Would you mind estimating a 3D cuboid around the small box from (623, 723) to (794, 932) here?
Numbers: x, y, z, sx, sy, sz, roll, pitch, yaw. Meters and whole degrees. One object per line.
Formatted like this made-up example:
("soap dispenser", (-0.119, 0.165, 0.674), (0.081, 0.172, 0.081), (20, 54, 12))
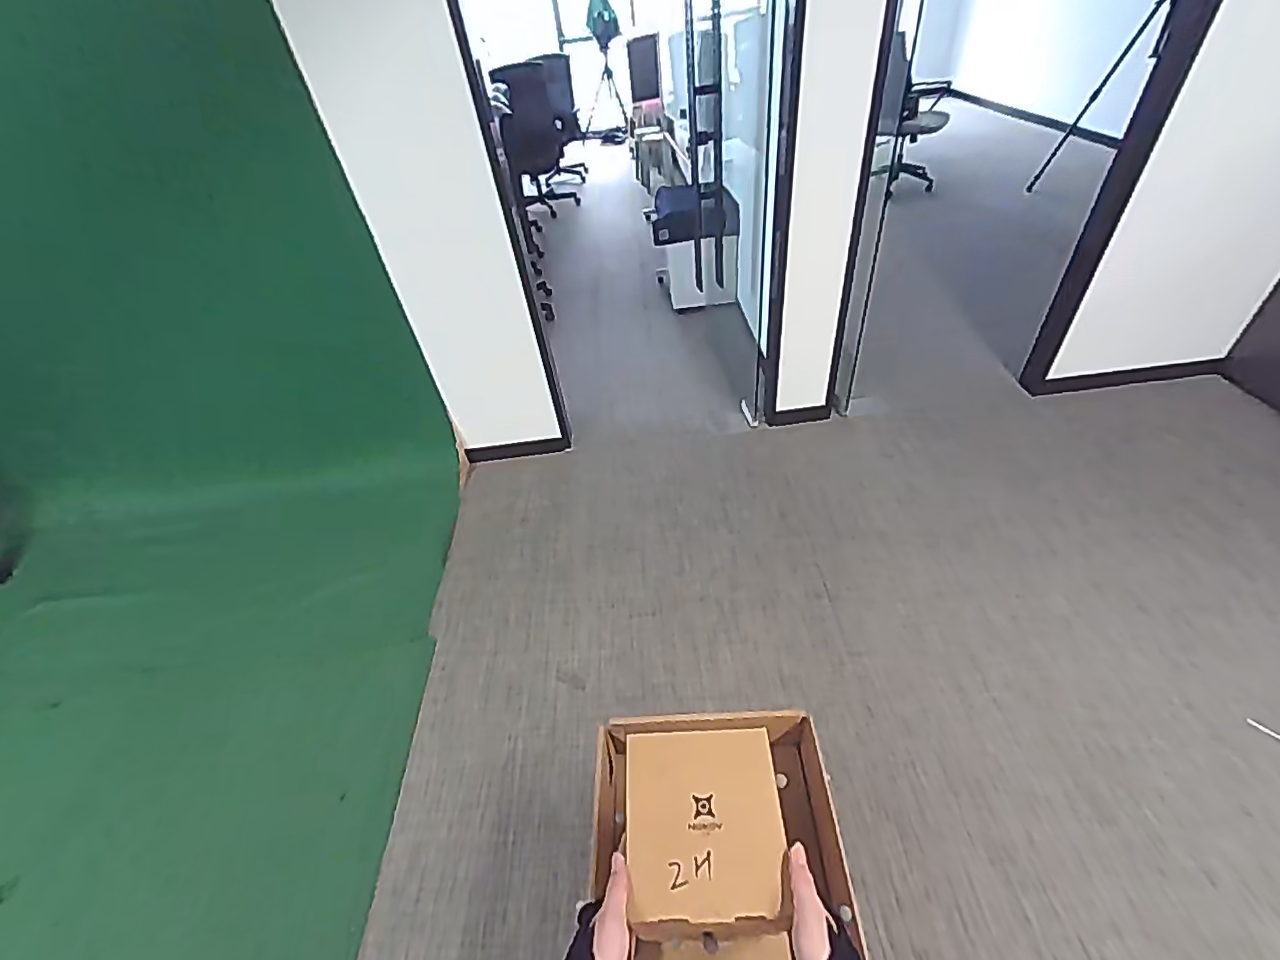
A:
("small box", (0.071, 0.404, 0.629), (0.168, 0.176, 0.179), (-3, 46, 3))
